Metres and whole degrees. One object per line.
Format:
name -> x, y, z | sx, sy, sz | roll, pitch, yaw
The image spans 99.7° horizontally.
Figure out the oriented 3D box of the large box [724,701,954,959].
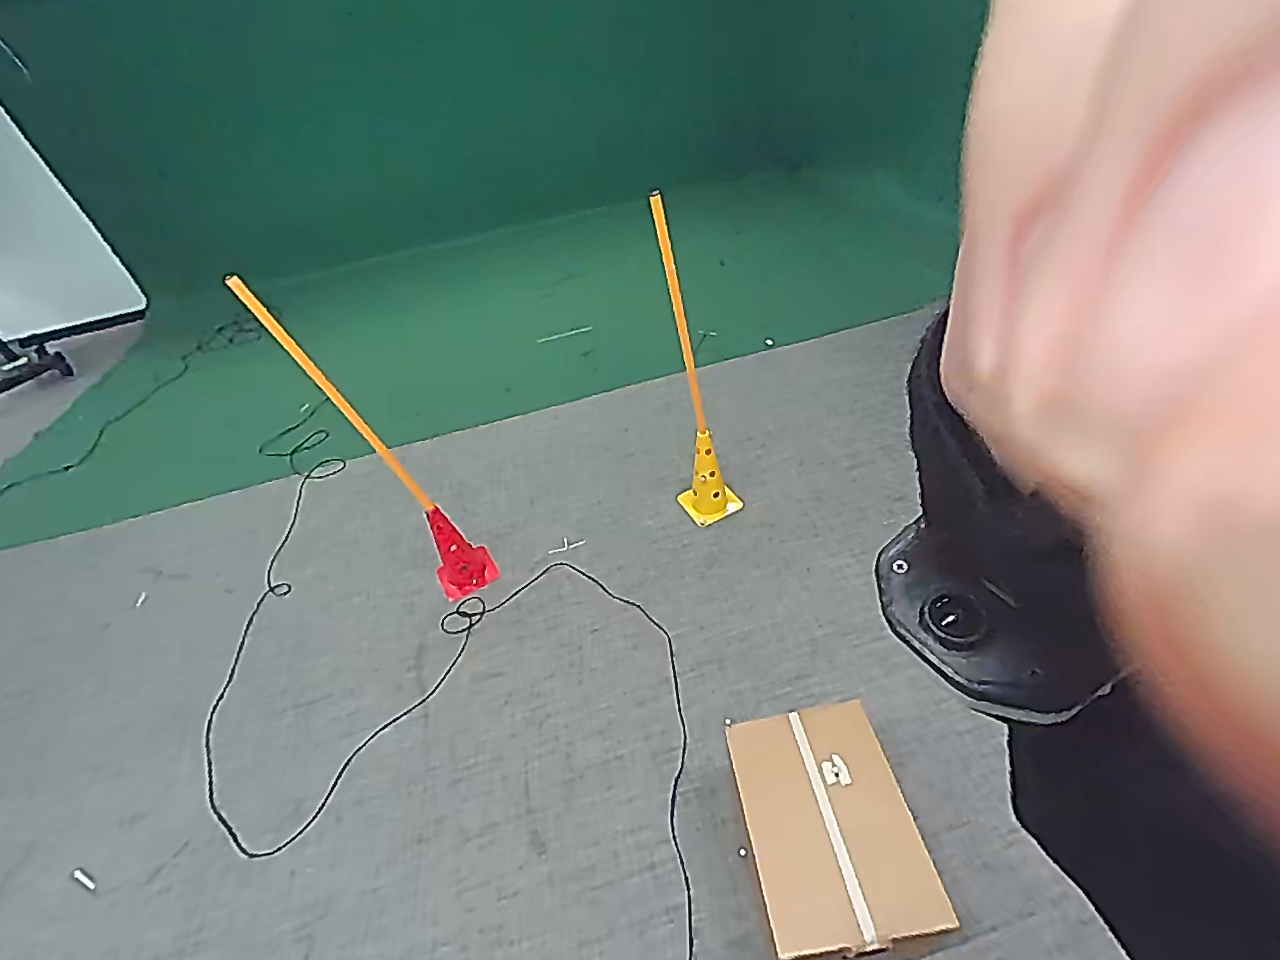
large box -> 0.386, 0.761, 1.159 | 0.320, 0.320, 0.408 | -10, 40, 0
